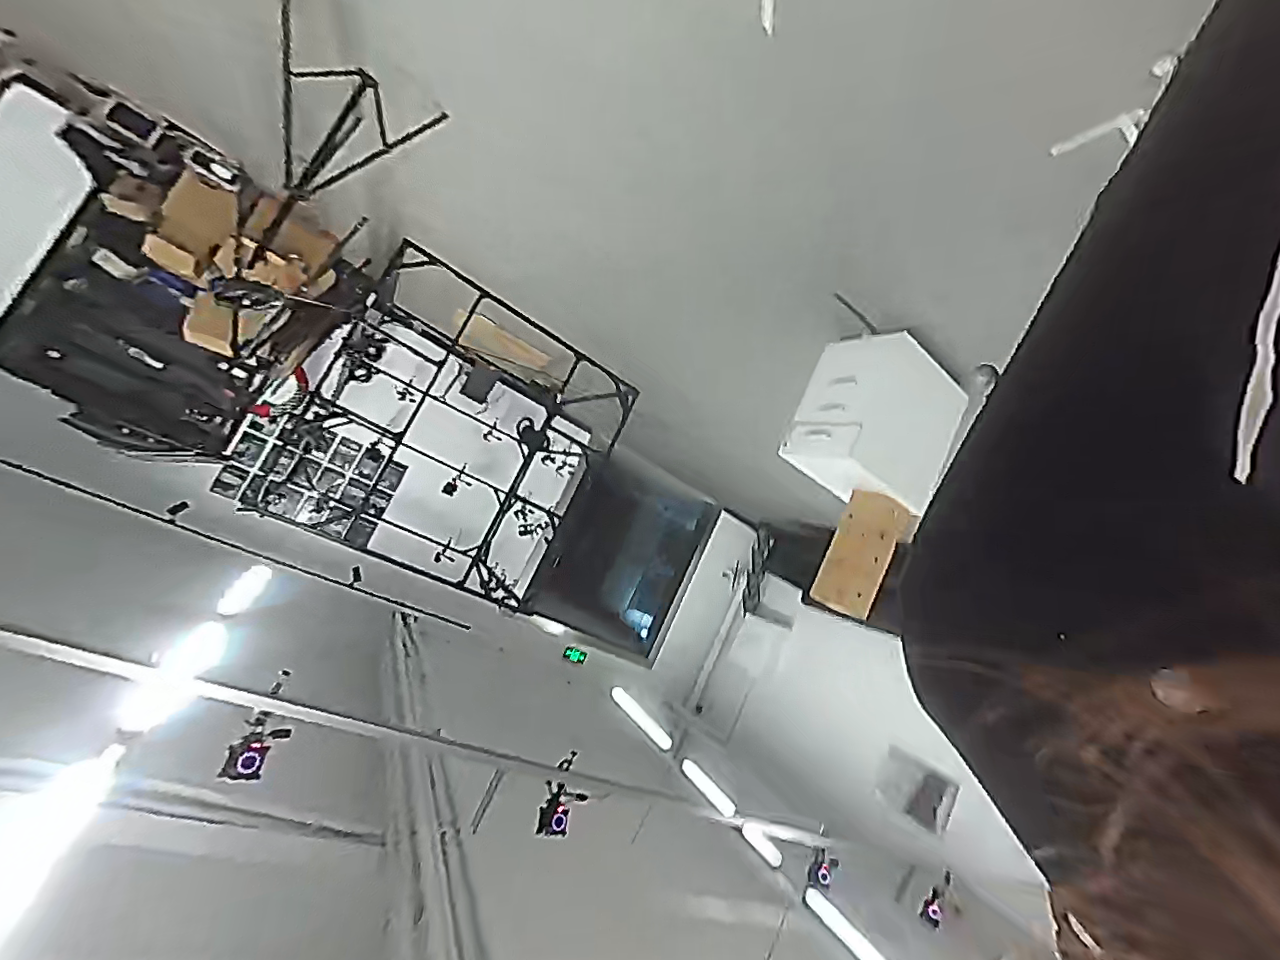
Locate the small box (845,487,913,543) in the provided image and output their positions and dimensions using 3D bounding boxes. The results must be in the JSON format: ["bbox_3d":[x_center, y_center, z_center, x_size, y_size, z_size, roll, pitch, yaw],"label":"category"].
[{"bbox_3d":[1.012,0.142,2.287,0.168,0.176,0.179,29,173,-26],"label":"small box"}]

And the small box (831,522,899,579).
[{"bbox_3d":[0.944,0.291,2.264,0.179,0.176,0.168,29,173,-27],"label":"small box"}]
